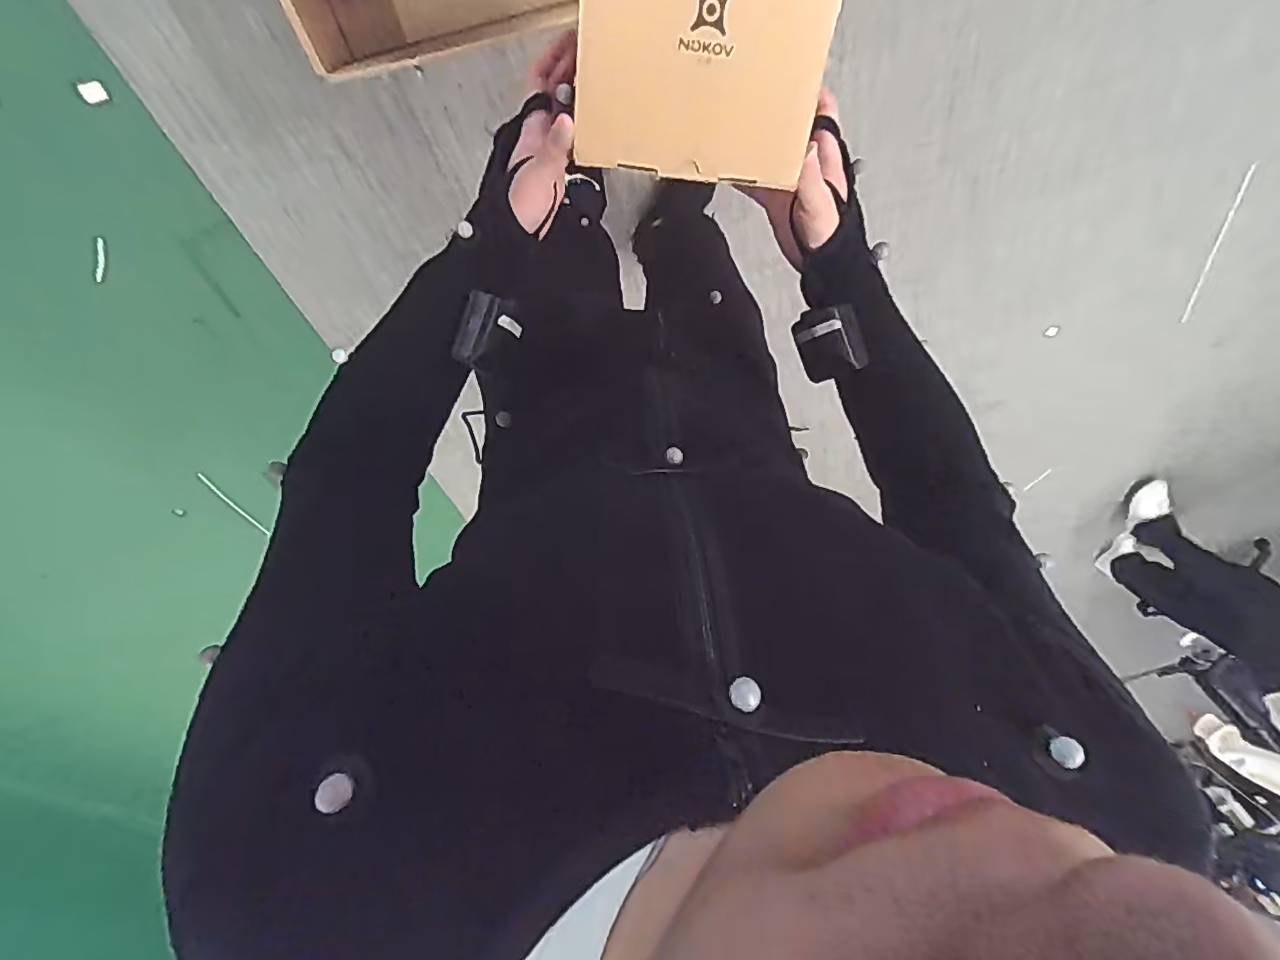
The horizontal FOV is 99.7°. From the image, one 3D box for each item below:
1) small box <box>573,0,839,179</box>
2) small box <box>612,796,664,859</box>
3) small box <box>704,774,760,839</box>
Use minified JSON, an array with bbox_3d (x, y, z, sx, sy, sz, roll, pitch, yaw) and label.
[{"bbox_3d":[0.037,-0.340,0.401,0.168,0.176,0.179,3,126,-5],"label":"small box"},{"bbox_3d":[-0.011,1.383,2.155,0.168,0.176,0.179,-16,133,6],"label":"small box"},{"bbox_3d":[0.358,1.272,2.106,0.168,0.176,0.179,-18,132,7],"label":"small box"}]
